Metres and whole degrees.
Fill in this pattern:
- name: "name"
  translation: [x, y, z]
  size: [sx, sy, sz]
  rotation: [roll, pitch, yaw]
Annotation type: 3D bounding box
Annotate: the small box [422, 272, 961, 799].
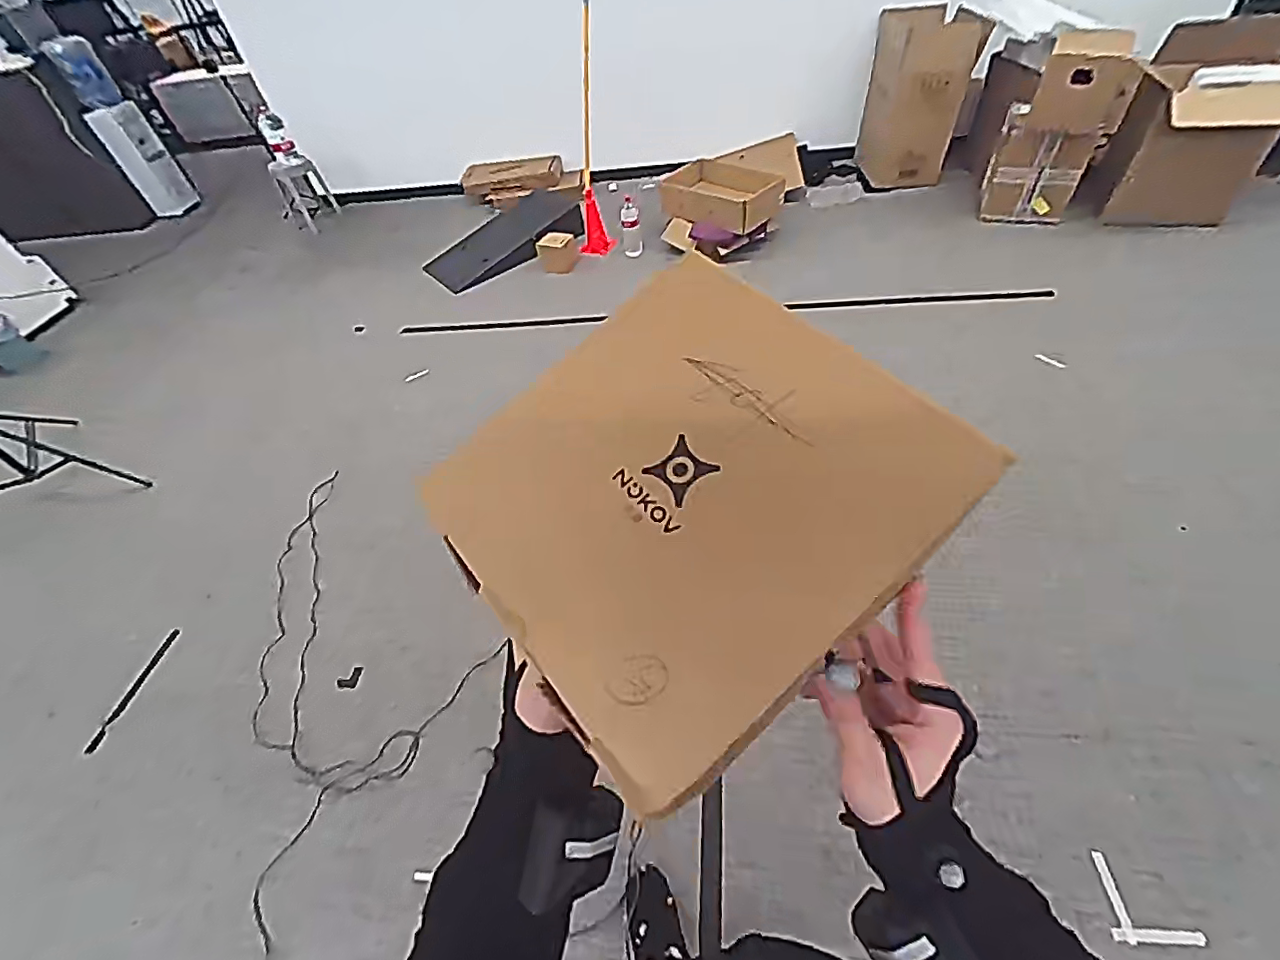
- name: "small box"
  translation: [0.028, 0.034, 0.298]
  size: [0.179, 0.176, 0.168]
  rotation: [-44, 64, -7]
